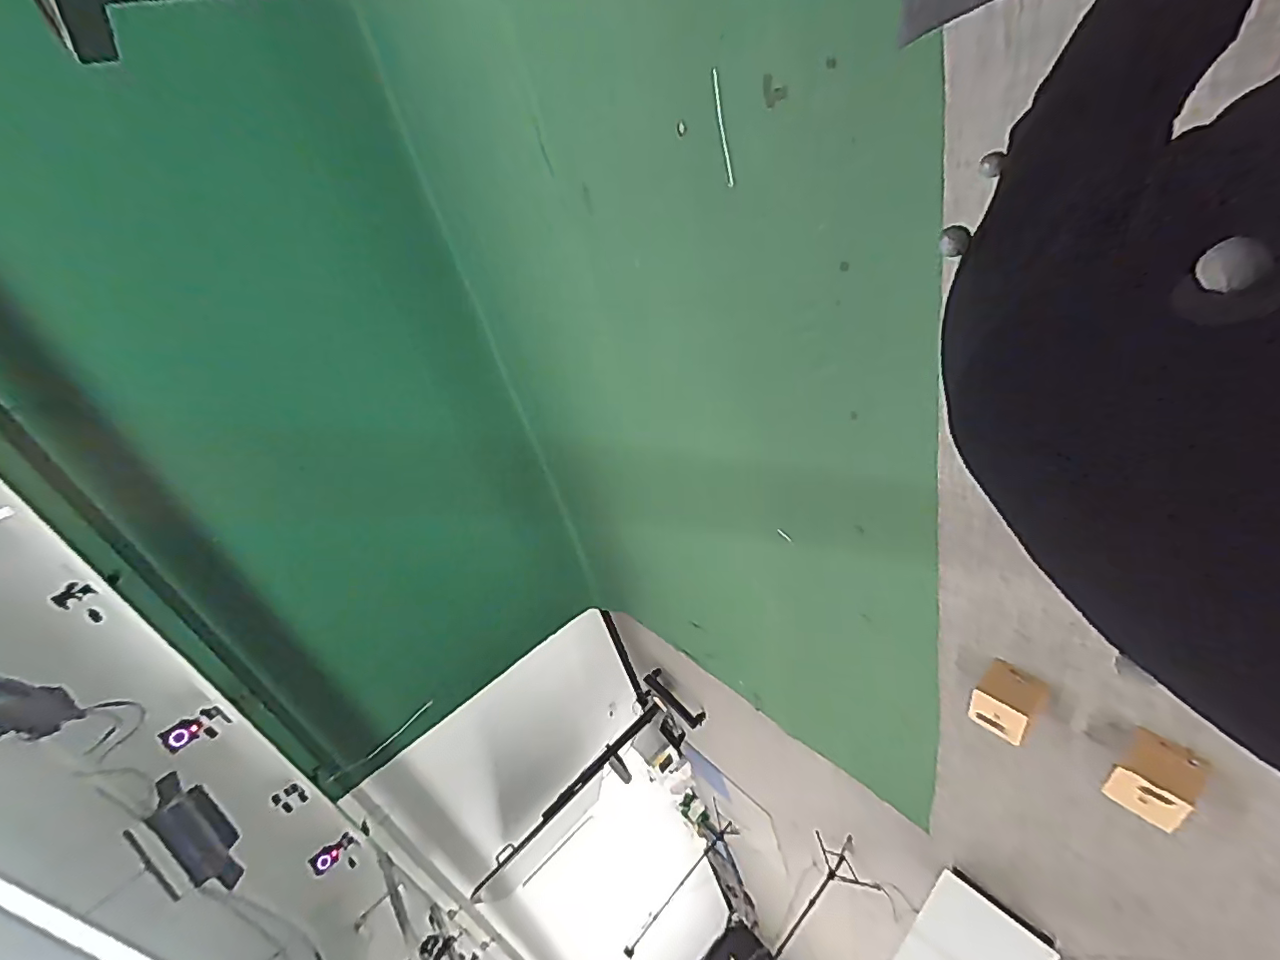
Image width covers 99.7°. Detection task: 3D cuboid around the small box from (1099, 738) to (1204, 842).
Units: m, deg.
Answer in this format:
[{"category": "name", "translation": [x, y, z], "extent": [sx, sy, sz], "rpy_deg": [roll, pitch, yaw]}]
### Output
[{"category": "small box", "translation": [1.505, 0.903, 1.590], "extent": [0.168, 0.176, 0.179], "rpy_deg": [29, 143, 44]}]
